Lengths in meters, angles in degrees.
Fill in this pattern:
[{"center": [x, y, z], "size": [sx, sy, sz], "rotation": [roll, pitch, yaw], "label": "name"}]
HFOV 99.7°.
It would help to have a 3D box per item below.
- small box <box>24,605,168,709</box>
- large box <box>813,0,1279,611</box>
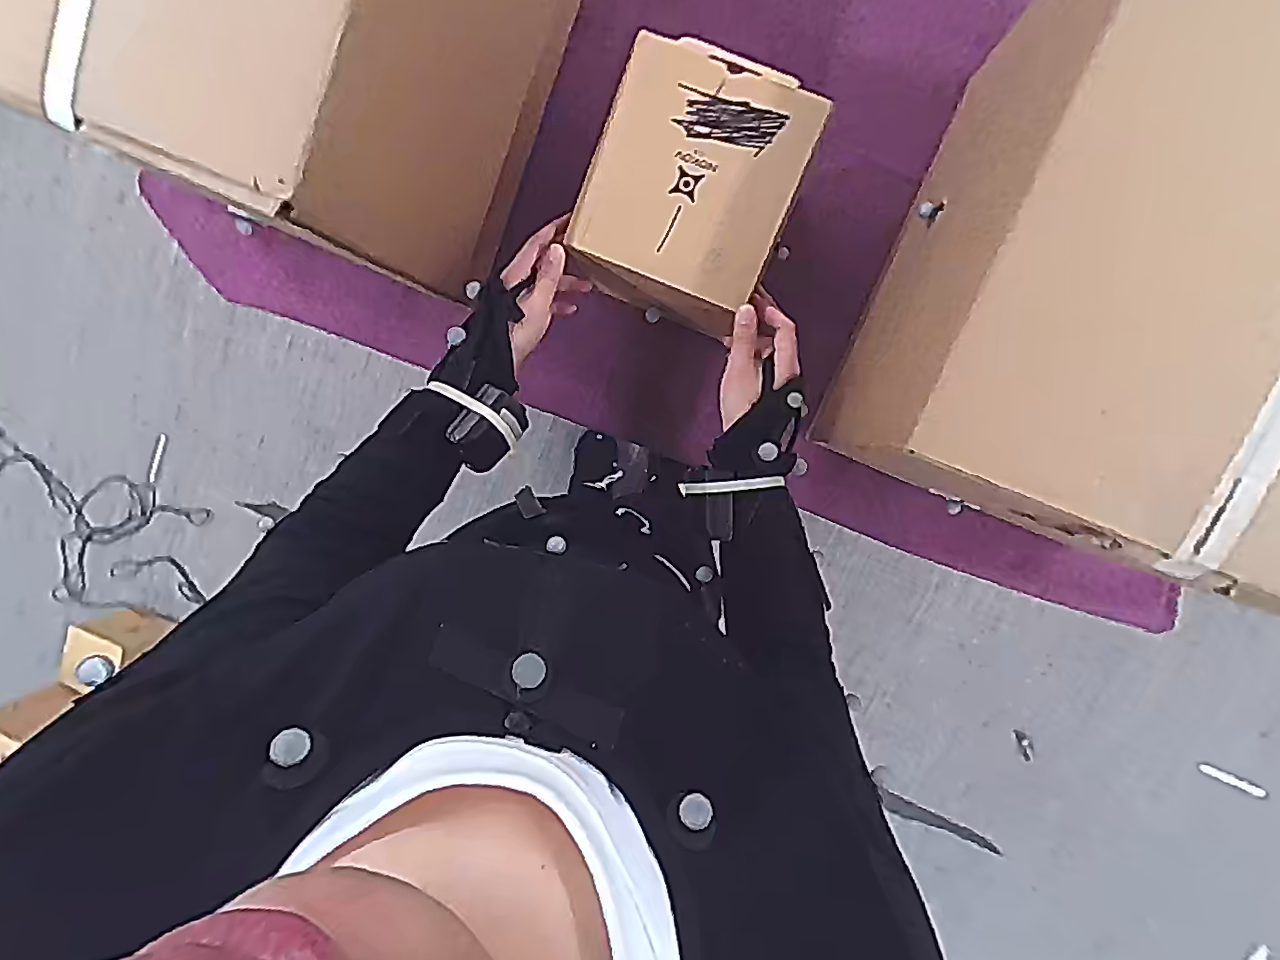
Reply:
[{"center": [-1.448, 0.472, 1.445], "size": [0.168, 0.176, 0.179], "rotation": [-43, 100, -5], "label": "small box"}, {"center": [0.378, -0.152, 0.420], "size": [0.320, 0.320, 0.408], "rotation": [23, 97, 4], "label": "large box"}]
